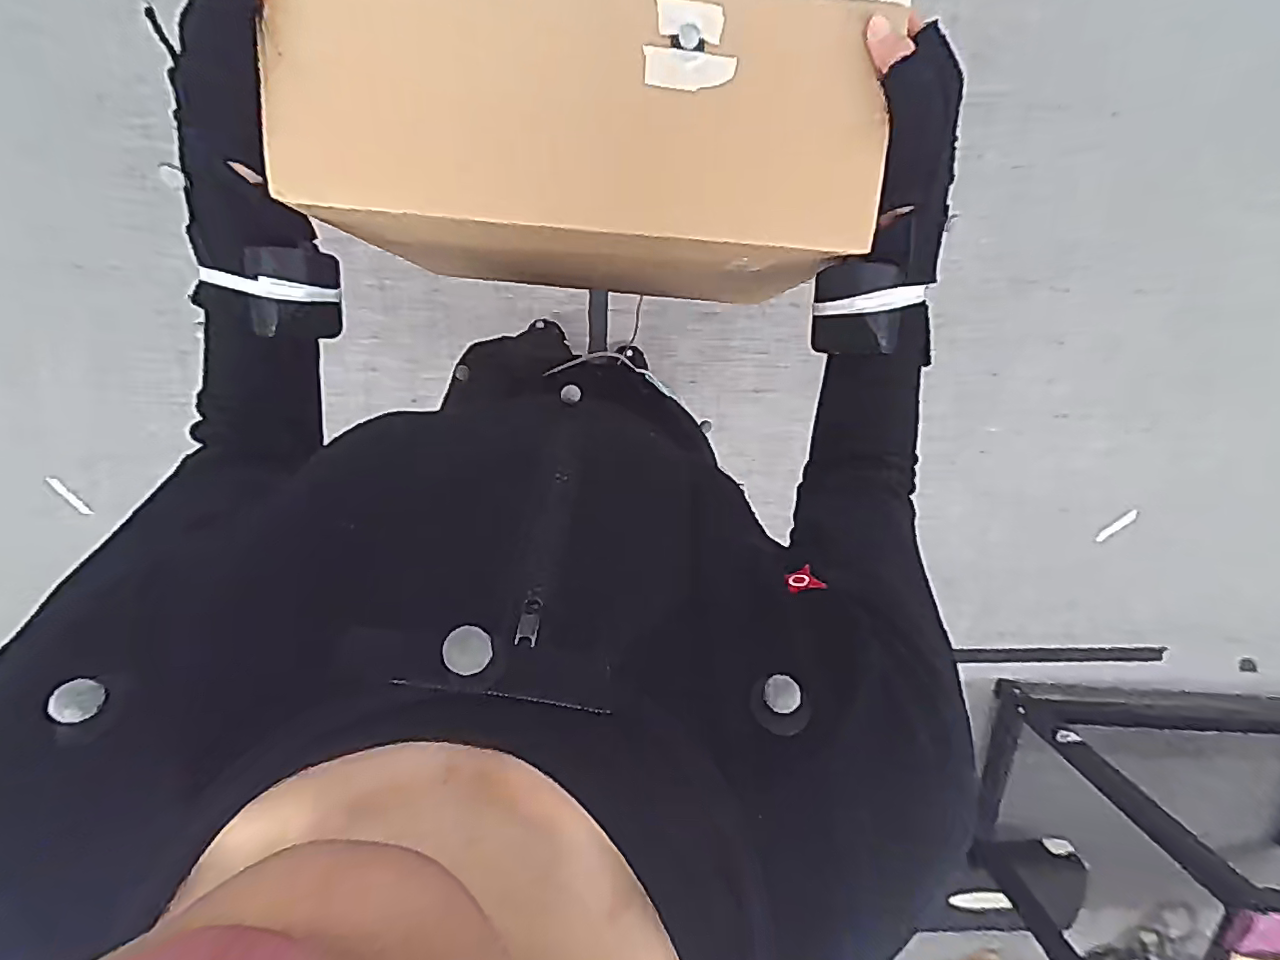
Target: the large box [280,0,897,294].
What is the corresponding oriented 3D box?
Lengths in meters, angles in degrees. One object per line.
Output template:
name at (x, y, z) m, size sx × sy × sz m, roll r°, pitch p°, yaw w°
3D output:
large box at (-0.034, -0.359, 0.491) m, size 0.408 × 0.320 × 0.320 m, roll 4°, pitch 103°, yaw -3°
